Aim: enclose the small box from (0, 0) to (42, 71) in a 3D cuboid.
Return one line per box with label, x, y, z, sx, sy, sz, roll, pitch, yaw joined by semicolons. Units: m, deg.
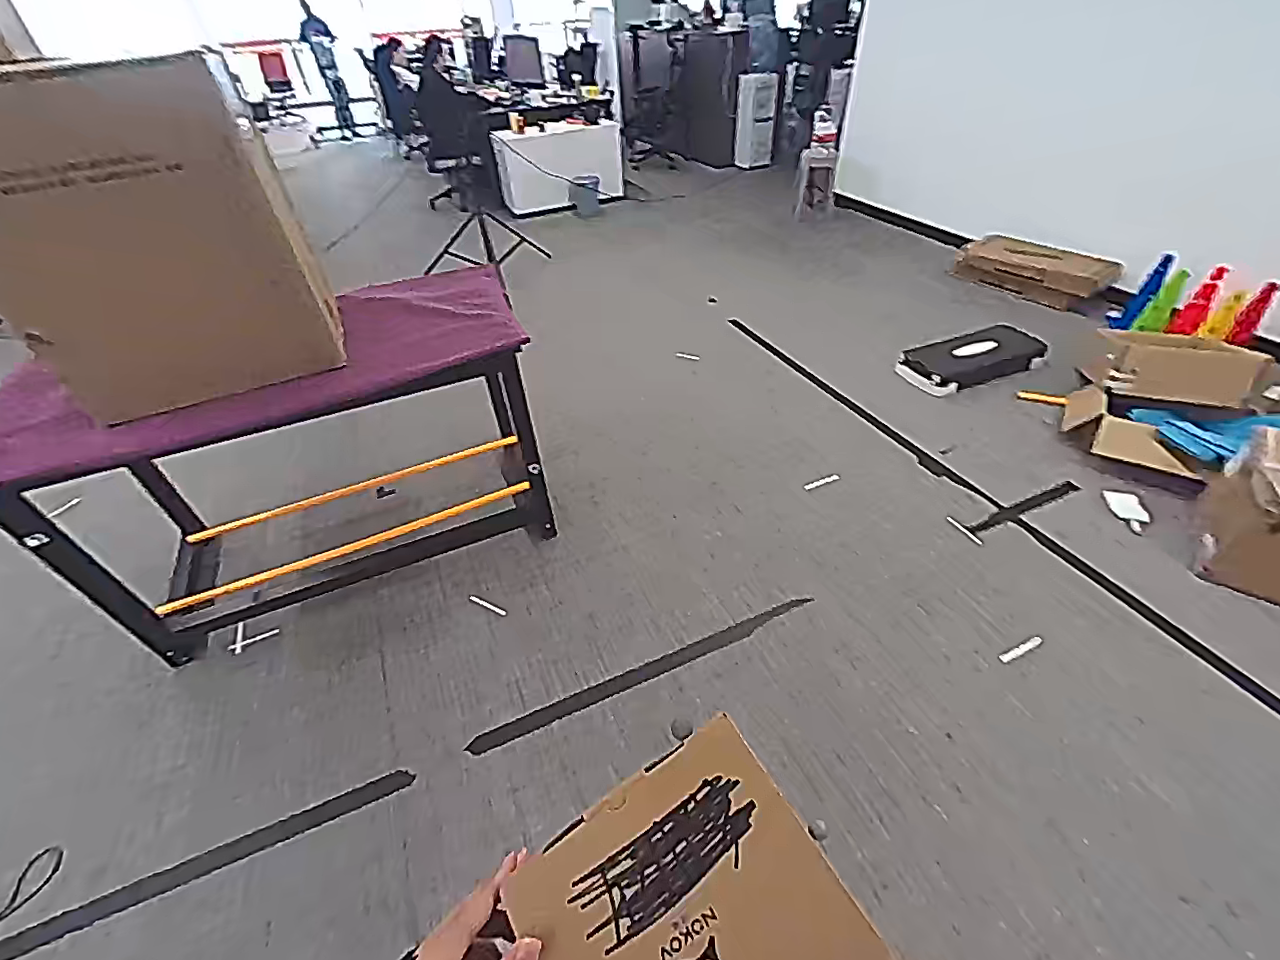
small box;-1.237;-0.831;0.957;0.168;0.176;0.179;-20;44;-18
